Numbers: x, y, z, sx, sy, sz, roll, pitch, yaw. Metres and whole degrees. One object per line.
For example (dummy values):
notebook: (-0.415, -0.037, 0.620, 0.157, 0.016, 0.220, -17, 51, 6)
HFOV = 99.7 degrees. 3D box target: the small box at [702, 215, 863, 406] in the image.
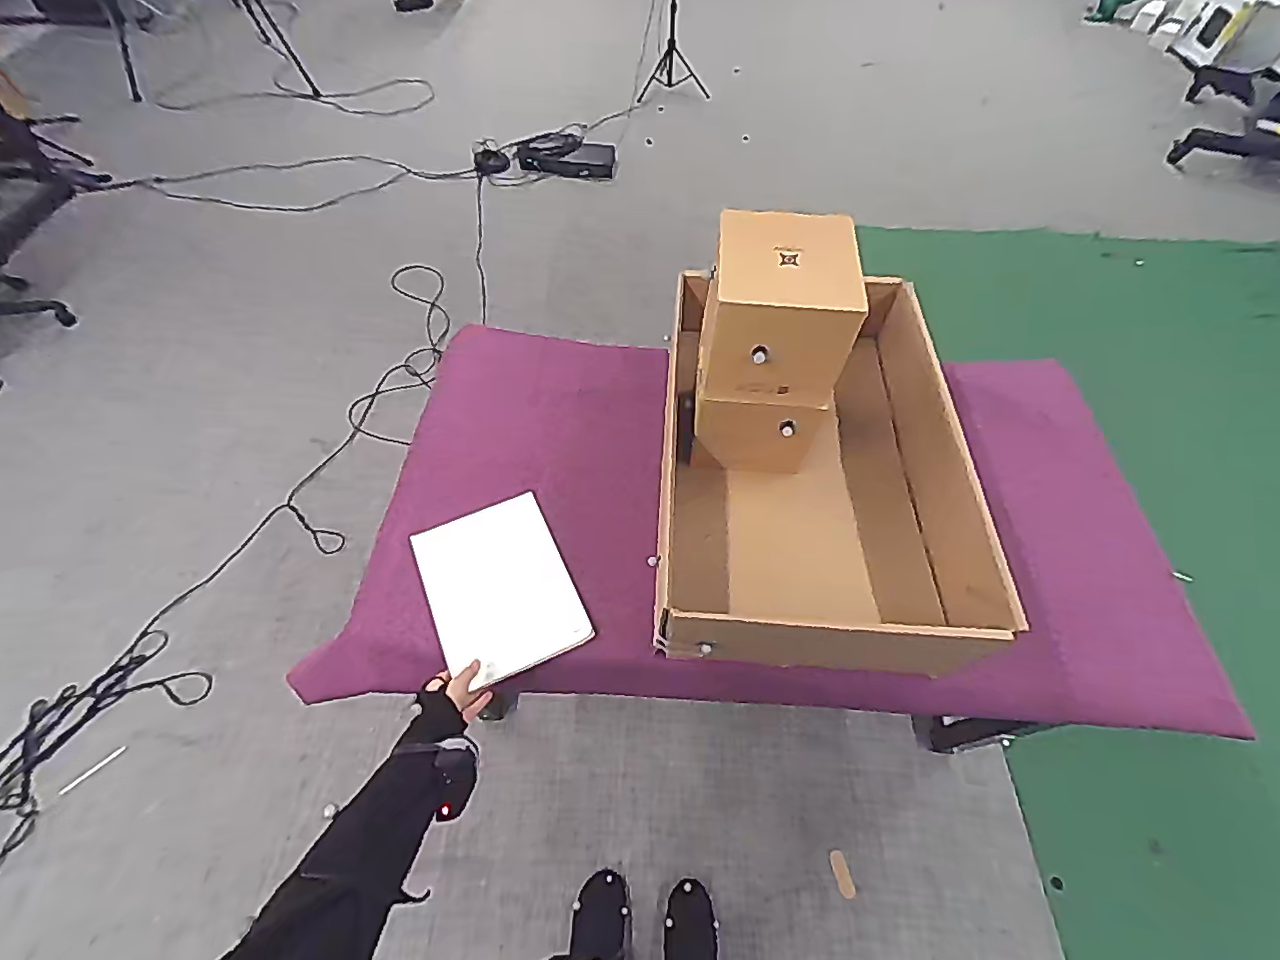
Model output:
small box: (0.173, -0.215, 0.705, 0.168, 0.176, 0.179, 4, 57, 3)
